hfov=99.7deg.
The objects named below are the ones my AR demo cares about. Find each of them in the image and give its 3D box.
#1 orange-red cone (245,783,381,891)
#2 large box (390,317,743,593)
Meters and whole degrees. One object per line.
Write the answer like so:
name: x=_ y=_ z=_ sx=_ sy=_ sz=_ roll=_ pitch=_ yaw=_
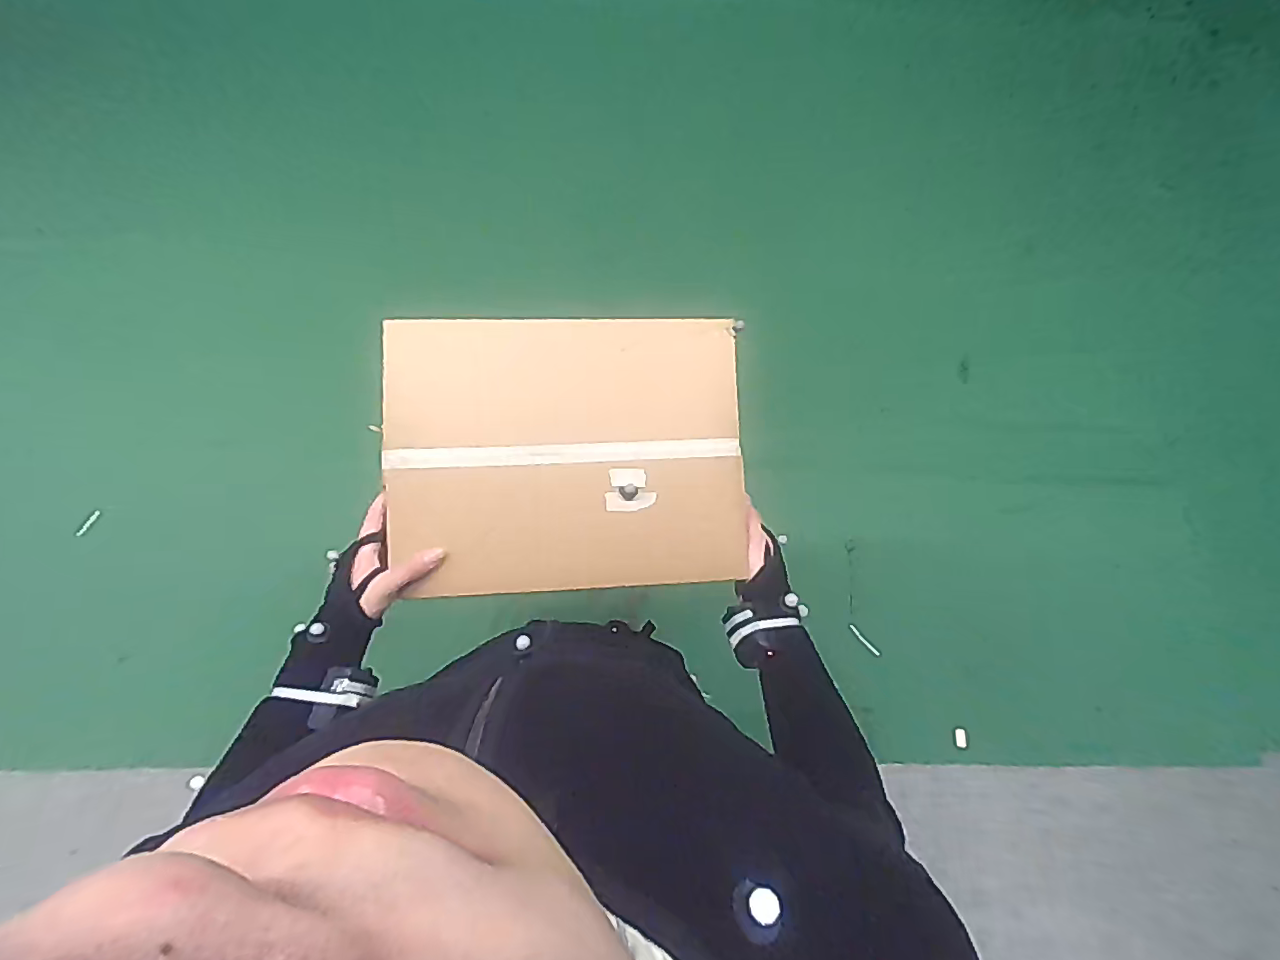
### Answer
orange-red cone: x=-0.808 y=0.885 z=1.288 sx=0.199 sy=0.360 sz=0.198 roll=8 pitch=73 yaw=1
large box: x=-0.099 y=-0.028 z=0.776 sx=0.408 sy=0.320 sz=0.320 roll=-2 pitch=88 yaw=-7
